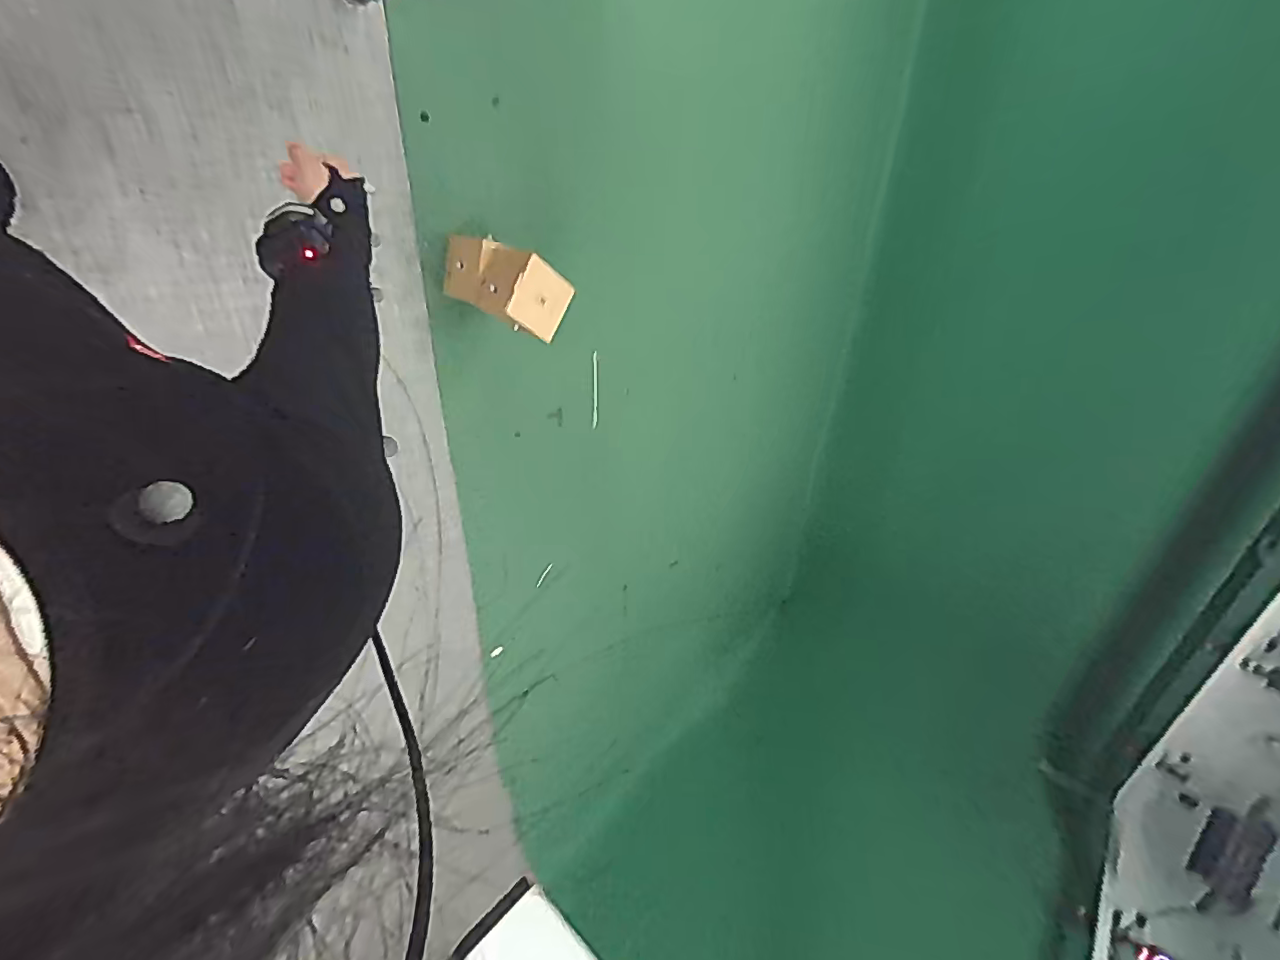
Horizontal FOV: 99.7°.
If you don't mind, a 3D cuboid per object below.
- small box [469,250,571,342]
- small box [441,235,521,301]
[{"bbox_3d":[-0.328,-0.501,1.463,0.179,0.176,0.168,26,91,-56],"label":"small box"},{"bbox_3d":[-0.443,-0.589,1.544,0.179,0.176,0.168,-8,118,-51],"label":"small box"}]
